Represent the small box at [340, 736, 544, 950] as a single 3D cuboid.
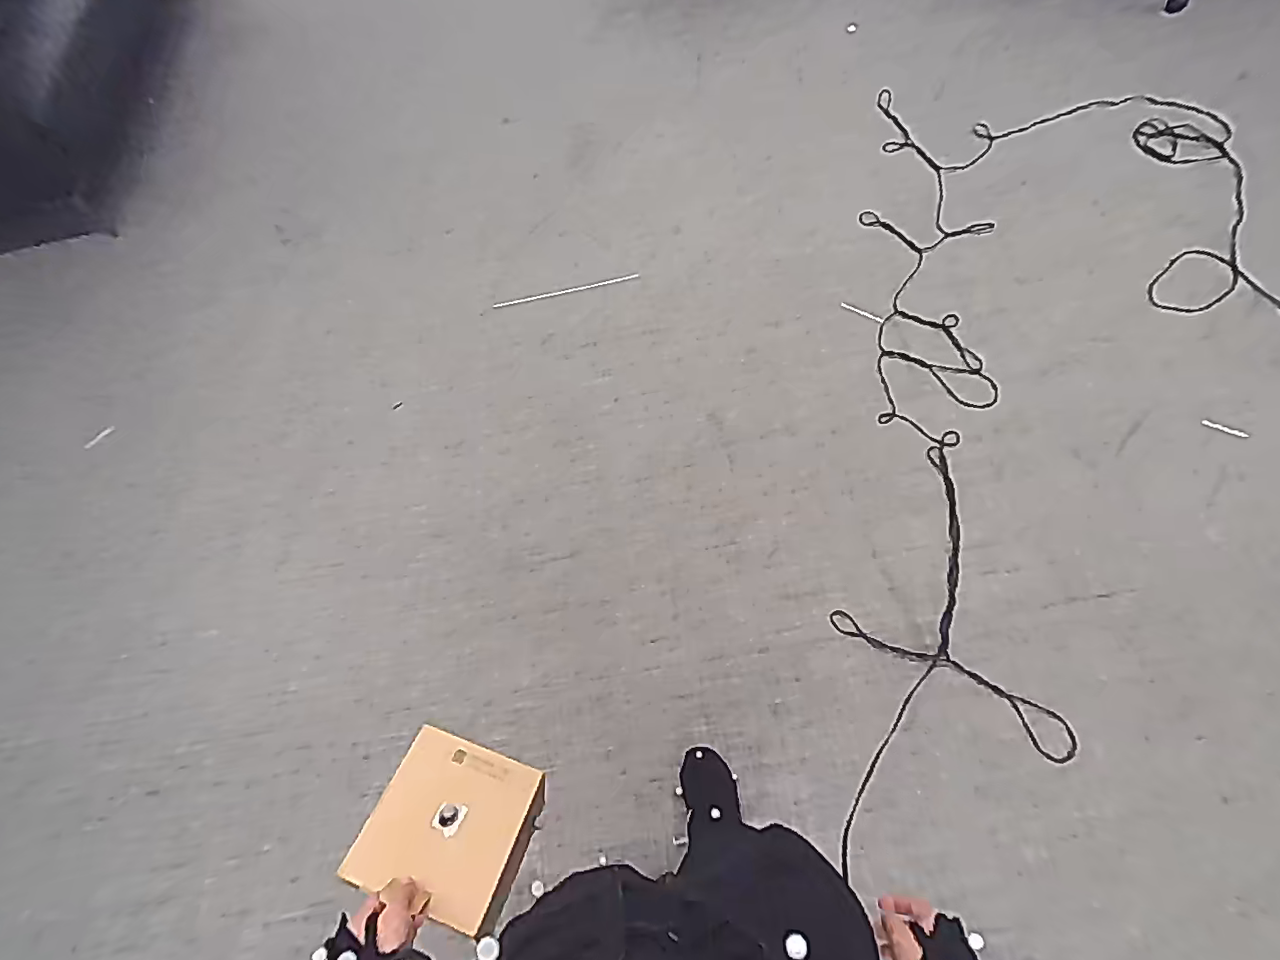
[{"bbox_3d":[-0.228,0.447,0.675,0.168,0.179,0.176,17,47,6],"label":"small box"}]
